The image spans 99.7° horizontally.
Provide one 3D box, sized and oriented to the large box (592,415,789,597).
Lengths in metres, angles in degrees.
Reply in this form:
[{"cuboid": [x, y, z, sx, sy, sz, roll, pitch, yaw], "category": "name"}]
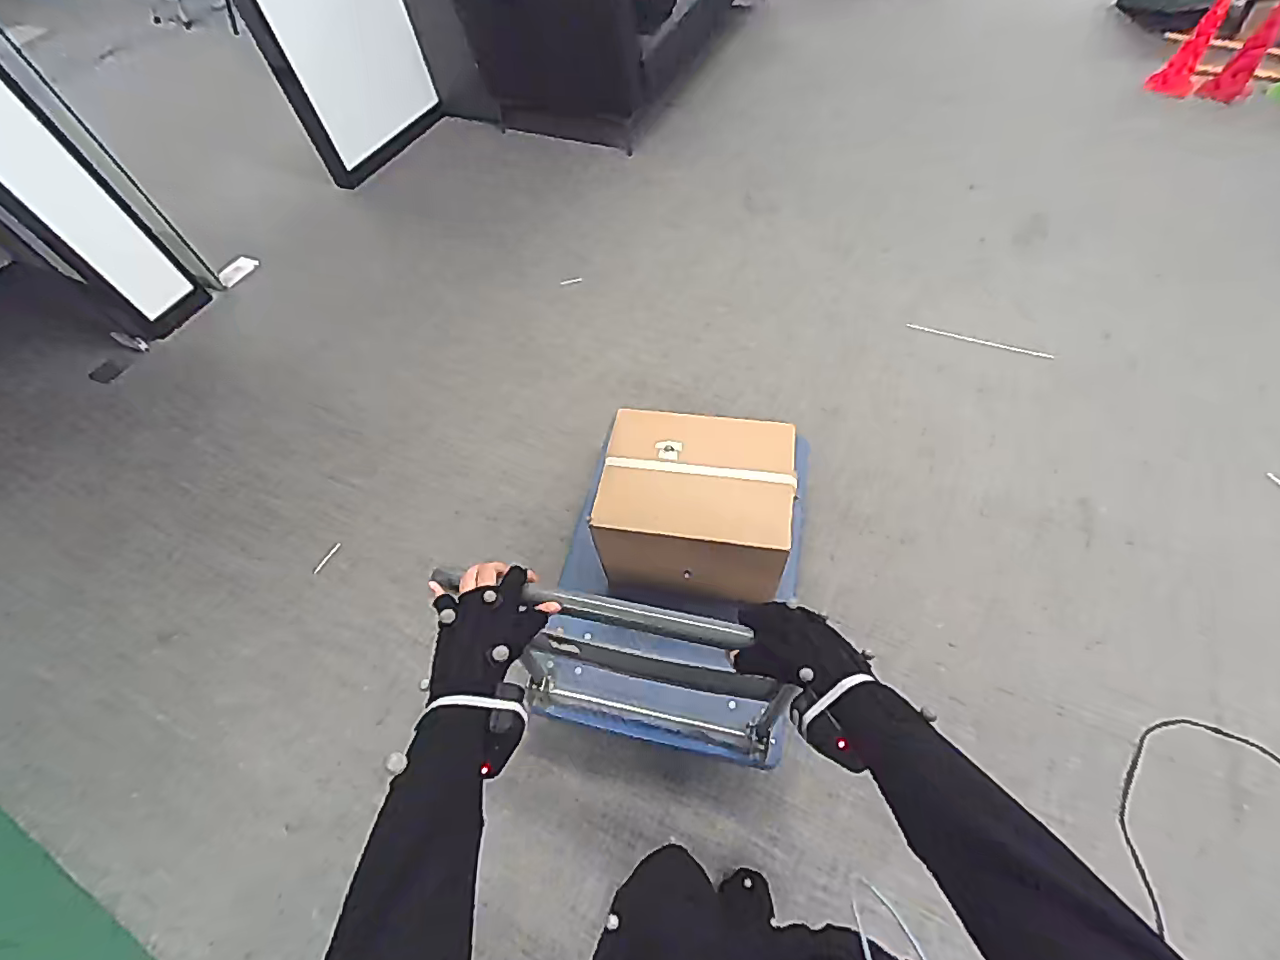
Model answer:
[{"cuboid": [0.133, 0.068, 1.288, 0.408, 0.320, 0.320, 5, 58, 10], "category": "large box"}]
